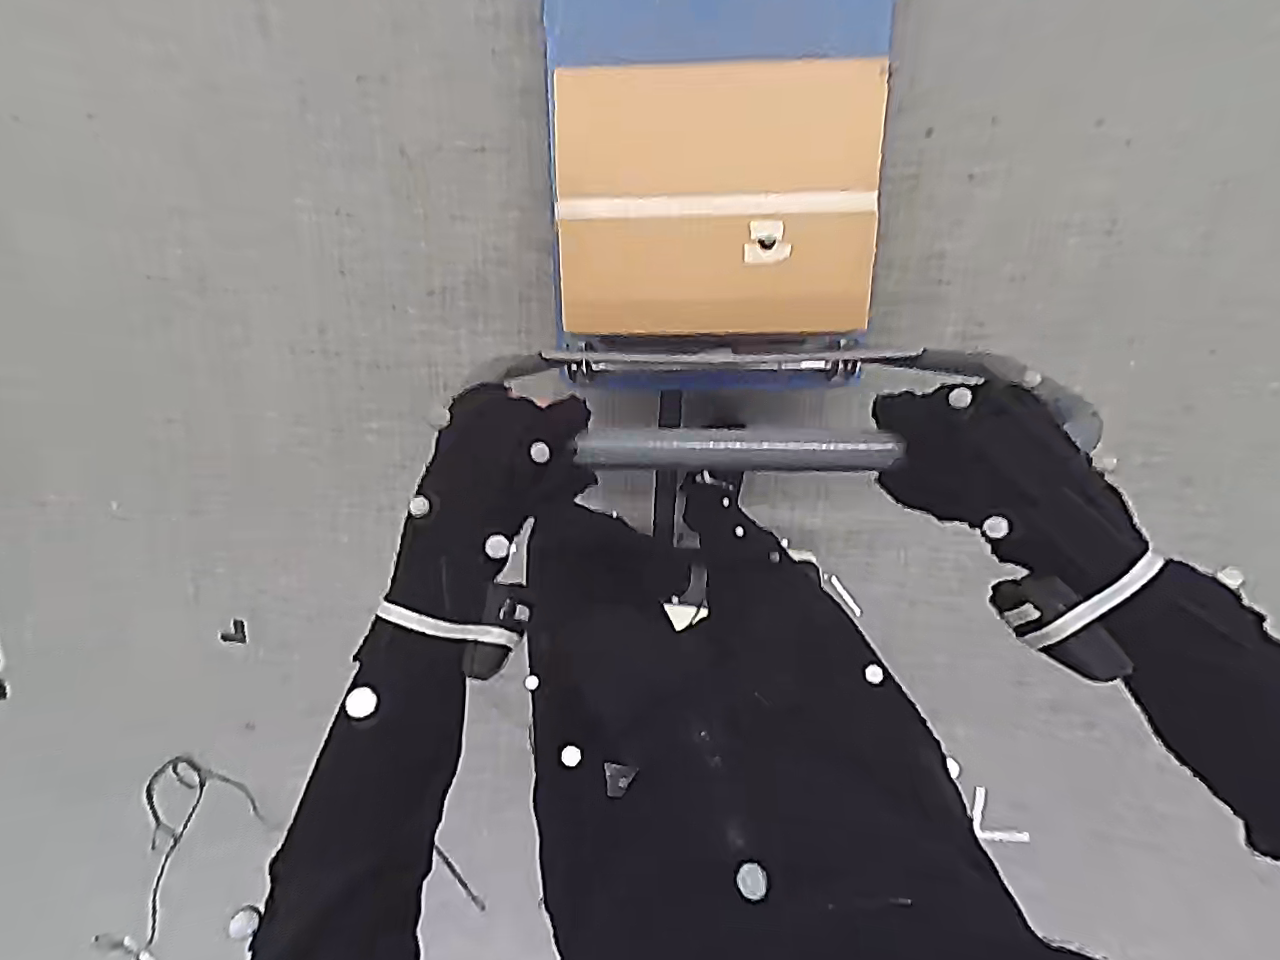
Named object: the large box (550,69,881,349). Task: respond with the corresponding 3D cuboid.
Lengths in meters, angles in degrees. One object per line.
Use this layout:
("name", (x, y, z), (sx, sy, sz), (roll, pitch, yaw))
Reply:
("large box", (0.096, -0.365, 0.824), (0.408, 0.320, 0.320), (0, 104, 3))
